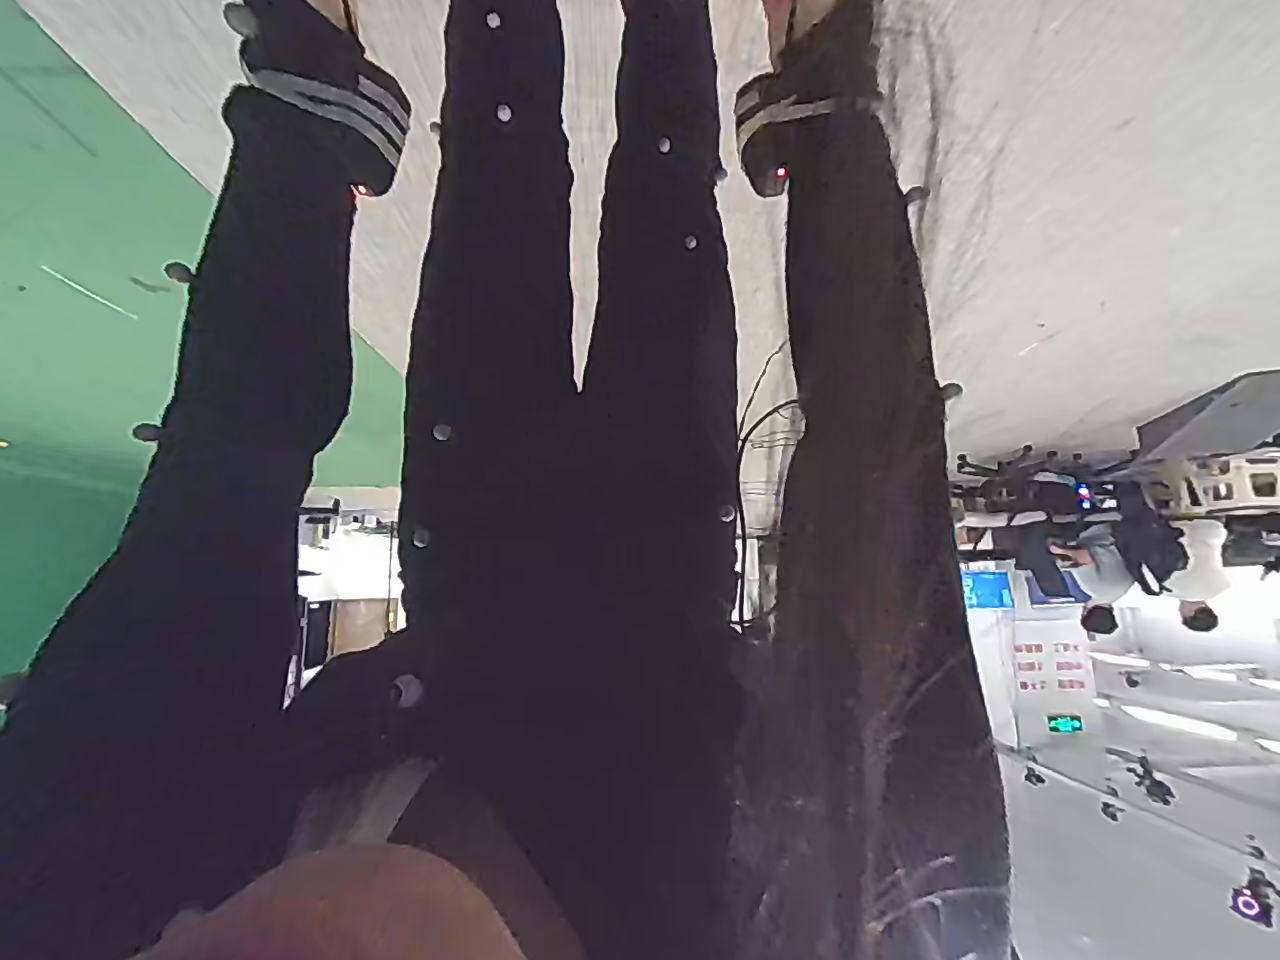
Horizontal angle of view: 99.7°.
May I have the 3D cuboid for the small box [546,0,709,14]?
[{"bbox_3d":[-0.033,-0.402,0.282,0.179,0.176,0.168,1,170,-7],"label":"small box"}]
